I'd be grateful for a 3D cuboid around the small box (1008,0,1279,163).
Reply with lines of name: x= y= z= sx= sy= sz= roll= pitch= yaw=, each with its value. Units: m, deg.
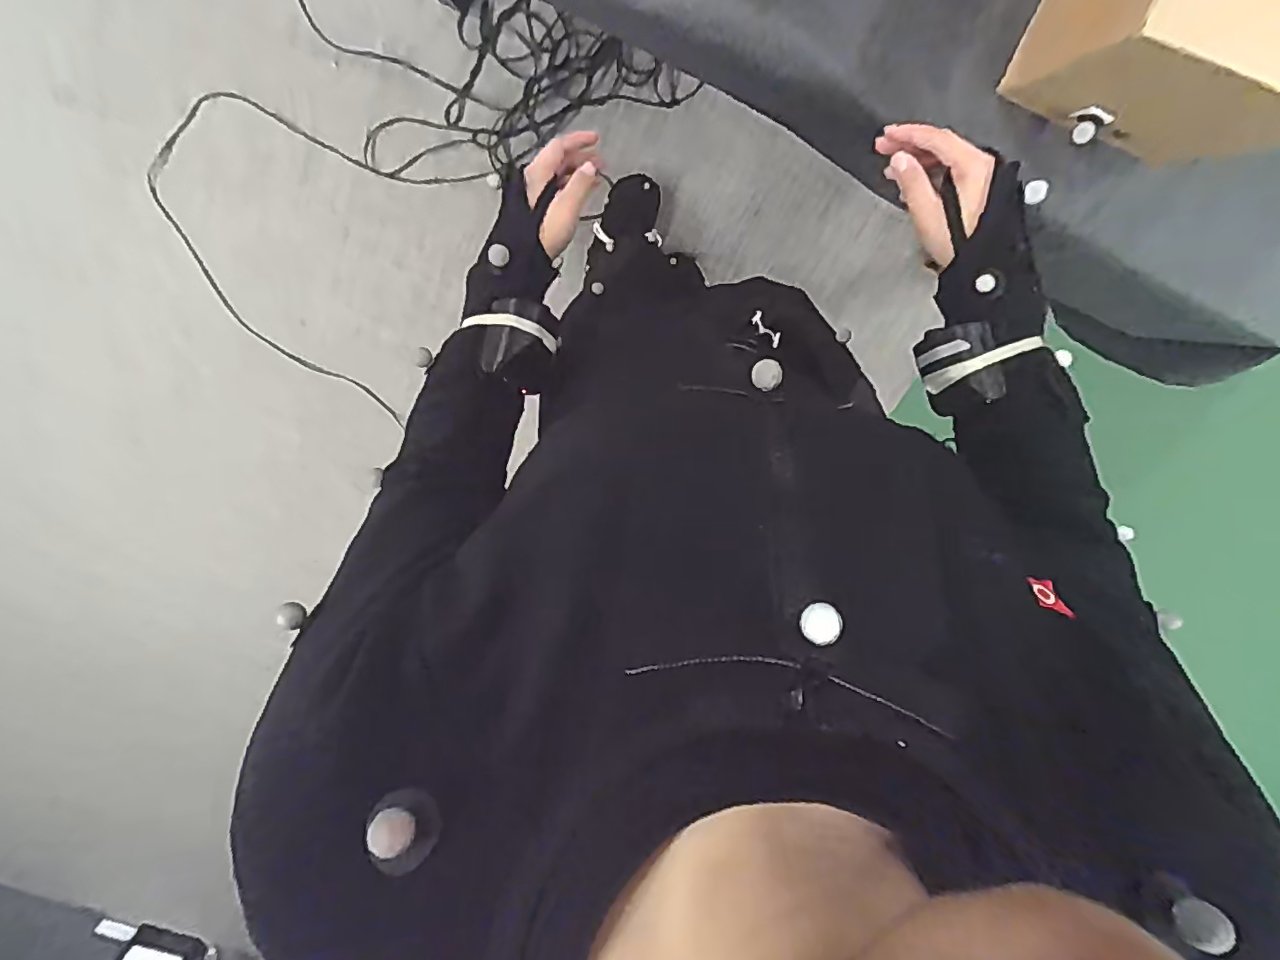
small box: x=0.402 y=-0.343 z=0.366 sx=0.168 sy=0.176 sz=0.179 roll=17 pitch=114 yaw=-3
